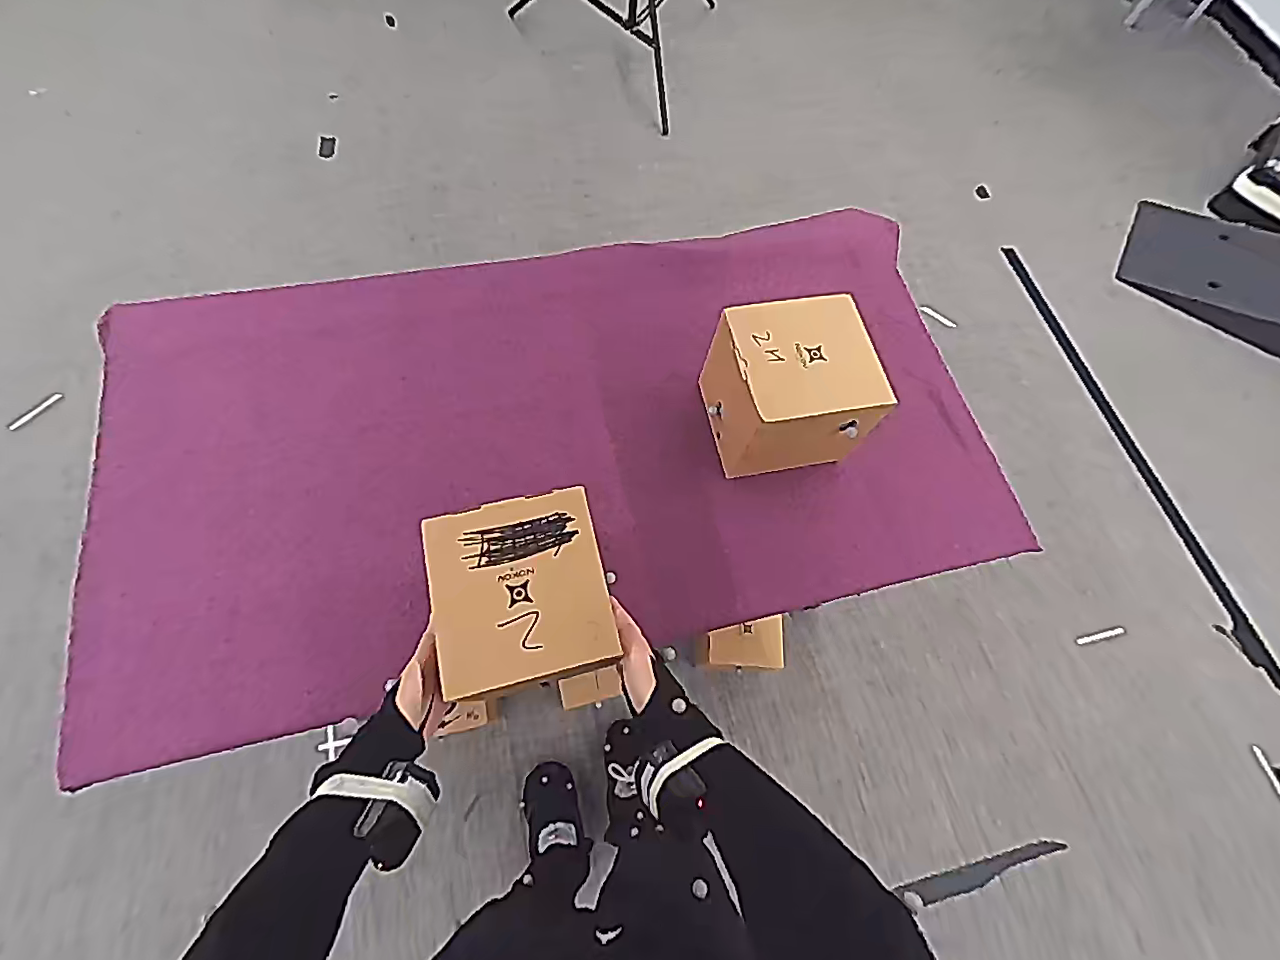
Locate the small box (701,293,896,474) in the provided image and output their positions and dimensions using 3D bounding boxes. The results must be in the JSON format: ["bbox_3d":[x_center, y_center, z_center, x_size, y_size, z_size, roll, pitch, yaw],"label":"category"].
[{"bbox_3d":[0.197,-0.122,0.724,0.179,0.176,0.168,-10,68,-9],"label":"small box"}]

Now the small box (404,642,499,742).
[{"bbox_3d":[-0.419,0.477,1.214,0.168,0.176,0.179,-9,68,-9],"label":"small box"}]

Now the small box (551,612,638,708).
[{"bbox_3d":[-0.111,0.423,1.264,0.168,0.176,0.179,-12,71,-10],"label":"small box"}]

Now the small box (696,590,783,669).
[{"bbox_3d":[0.239,0.370,1.321,0.179,0.176,0.168,4,69,-1],"label":"small box"}]
